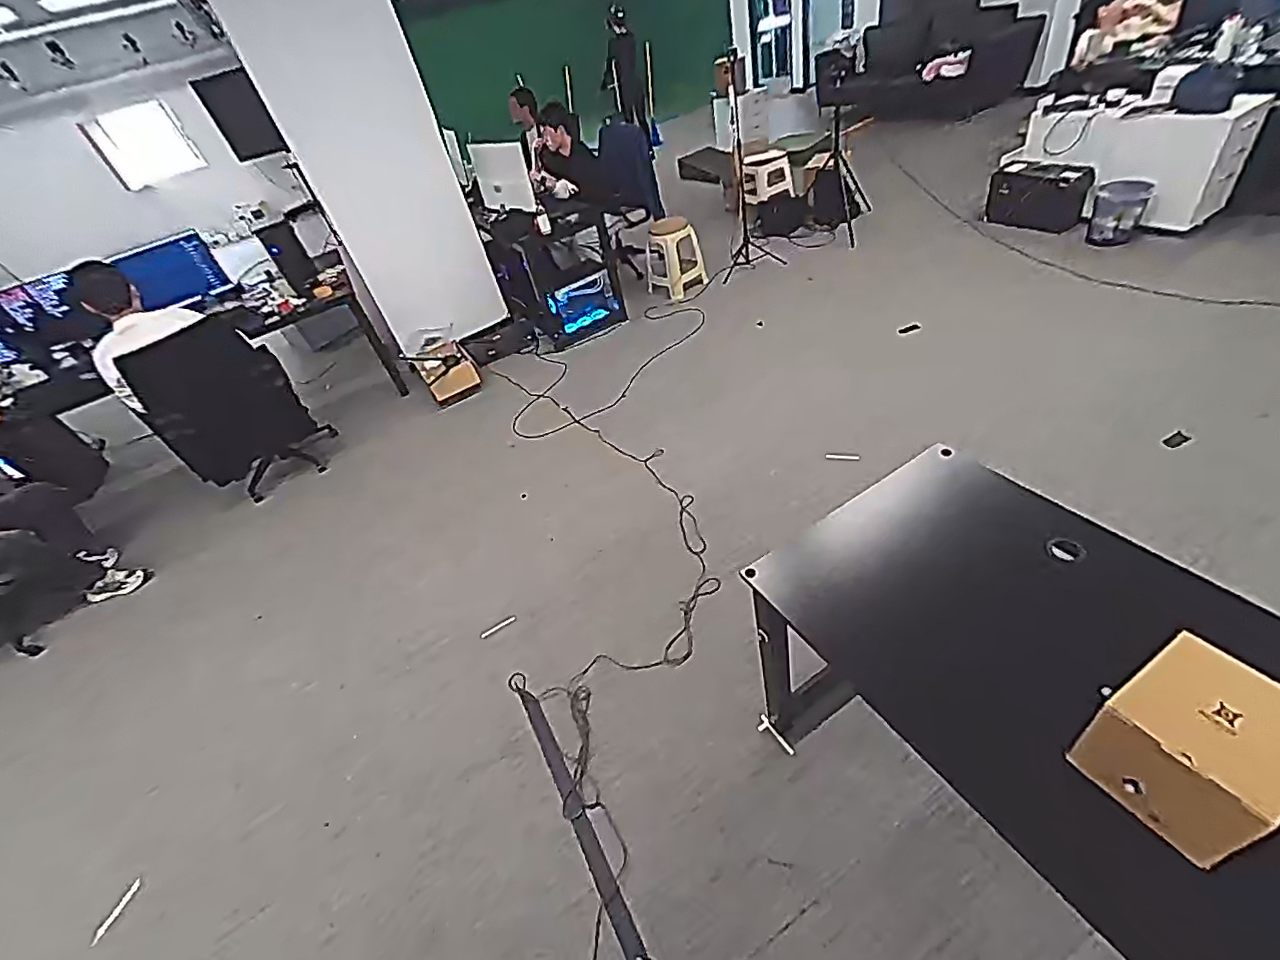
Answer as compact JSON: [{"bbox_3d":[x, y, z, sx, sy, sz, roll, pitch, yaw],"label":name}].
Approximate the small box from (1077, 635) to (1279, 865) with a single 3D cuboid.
[{"bbox_3d":[0.713,0.342,0.690,0.179,0.176,0.168,-30,43,-15],"label":"small box"}]
